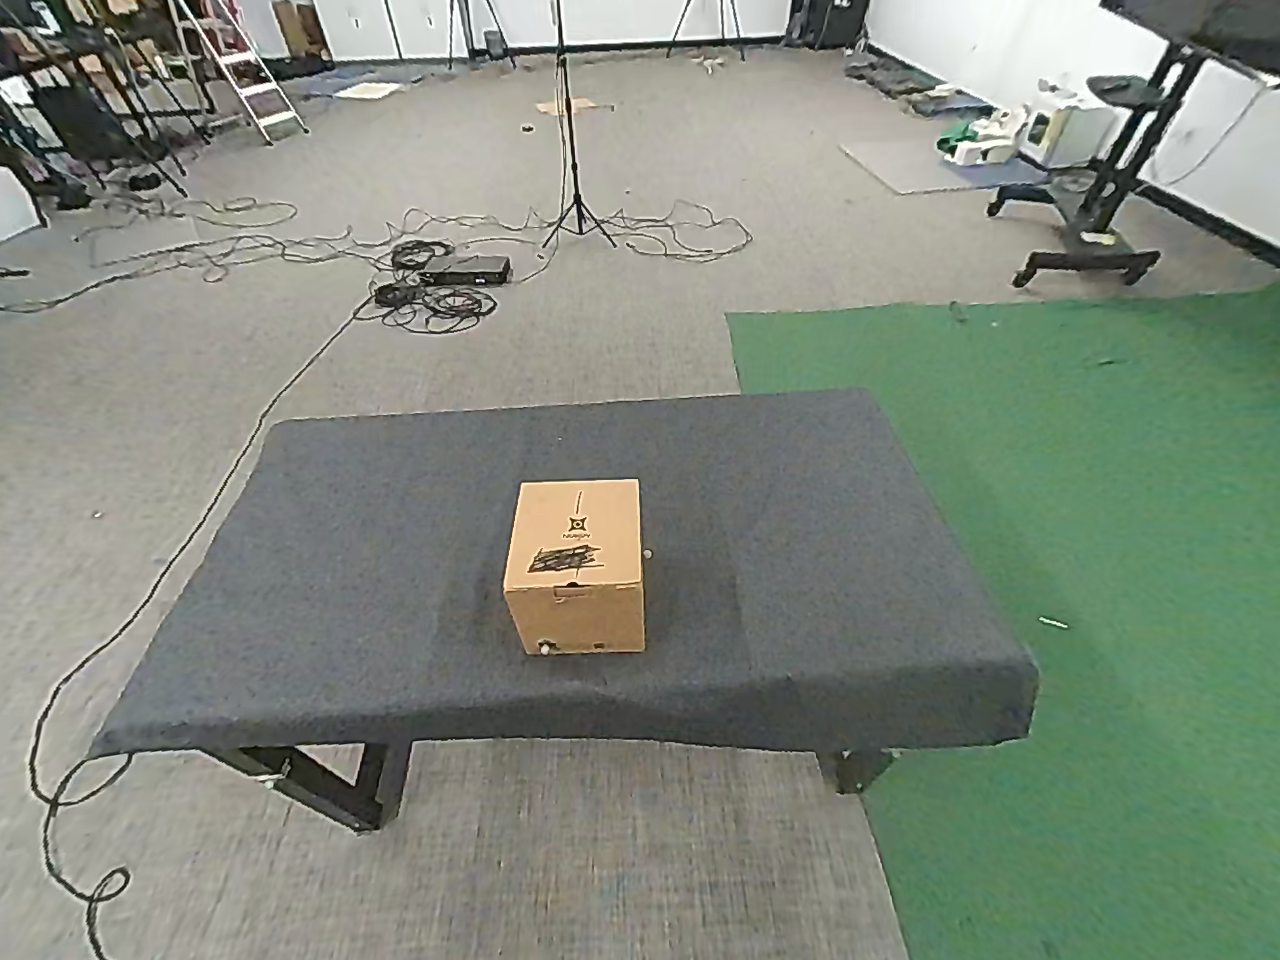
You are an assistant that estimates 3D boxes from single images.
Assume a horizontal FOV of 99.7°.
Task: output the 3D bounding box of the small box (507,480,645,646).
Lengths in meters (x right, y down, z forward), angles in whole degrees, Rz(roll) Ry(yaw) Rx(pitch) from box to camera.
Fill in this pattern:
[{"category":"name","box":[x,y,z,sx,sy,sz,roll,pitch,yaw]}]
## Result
[{"category":"small box","box":[-0.078,0.120,0.761,0.168,0.176,0.179,-1,46,0]}]
